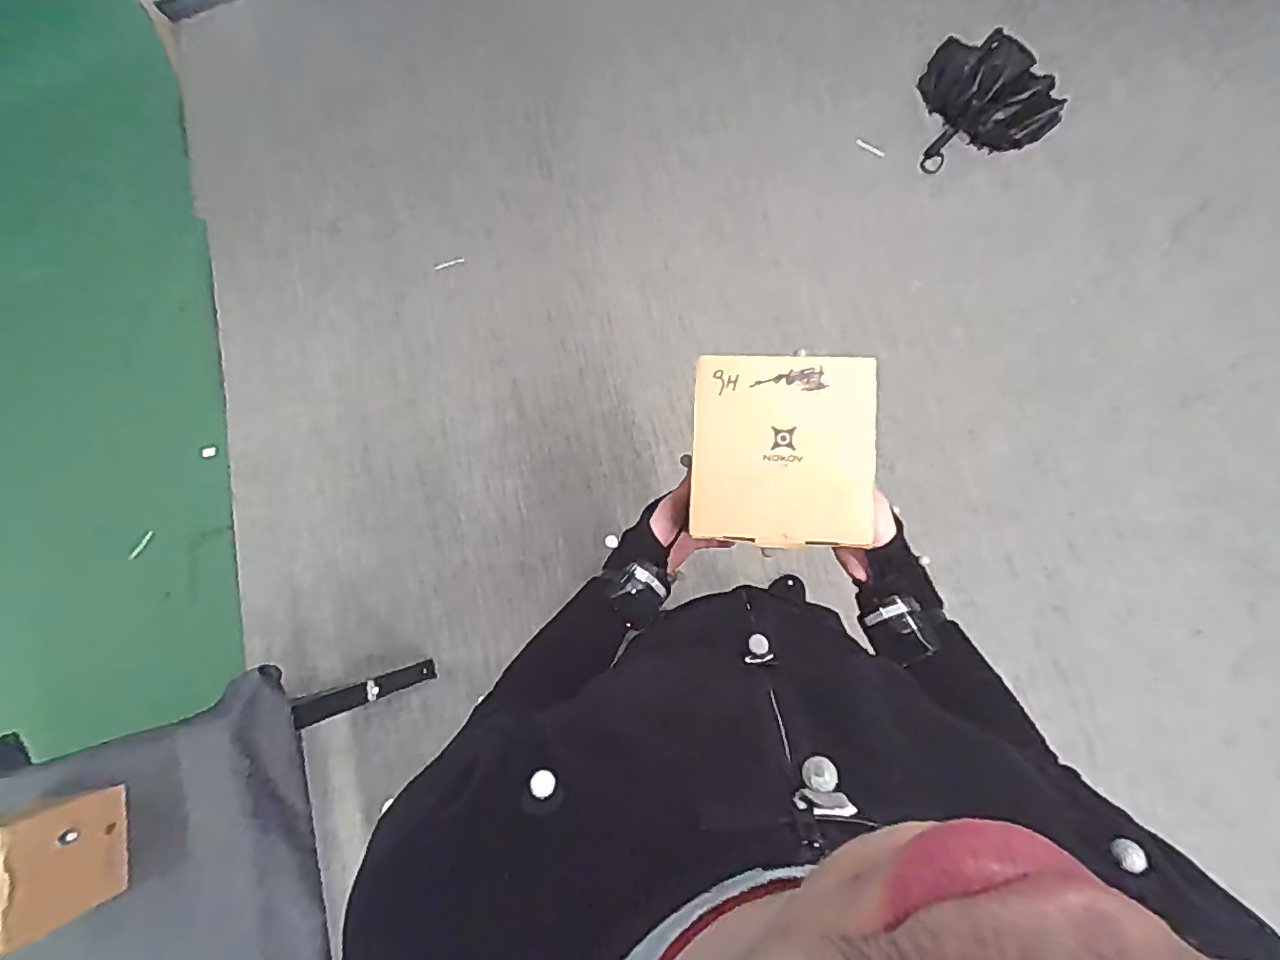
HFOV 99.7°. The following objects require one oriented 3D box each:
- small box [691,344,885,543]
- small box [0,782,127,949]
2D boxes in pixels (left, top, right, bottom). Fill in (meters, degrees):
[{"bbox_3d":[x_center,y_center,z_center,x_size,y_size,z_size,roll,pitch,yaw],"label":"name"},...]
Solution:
[{"bbox_3d":[0.142,-0.030,0.566,0.168,0.176,0.179,3,85,6],"label":"small box"},{"bbox_3d":[-0.947,0.590,0.834,0.179,0.176,0.168,-13,78,6],"label":"small box"}]
